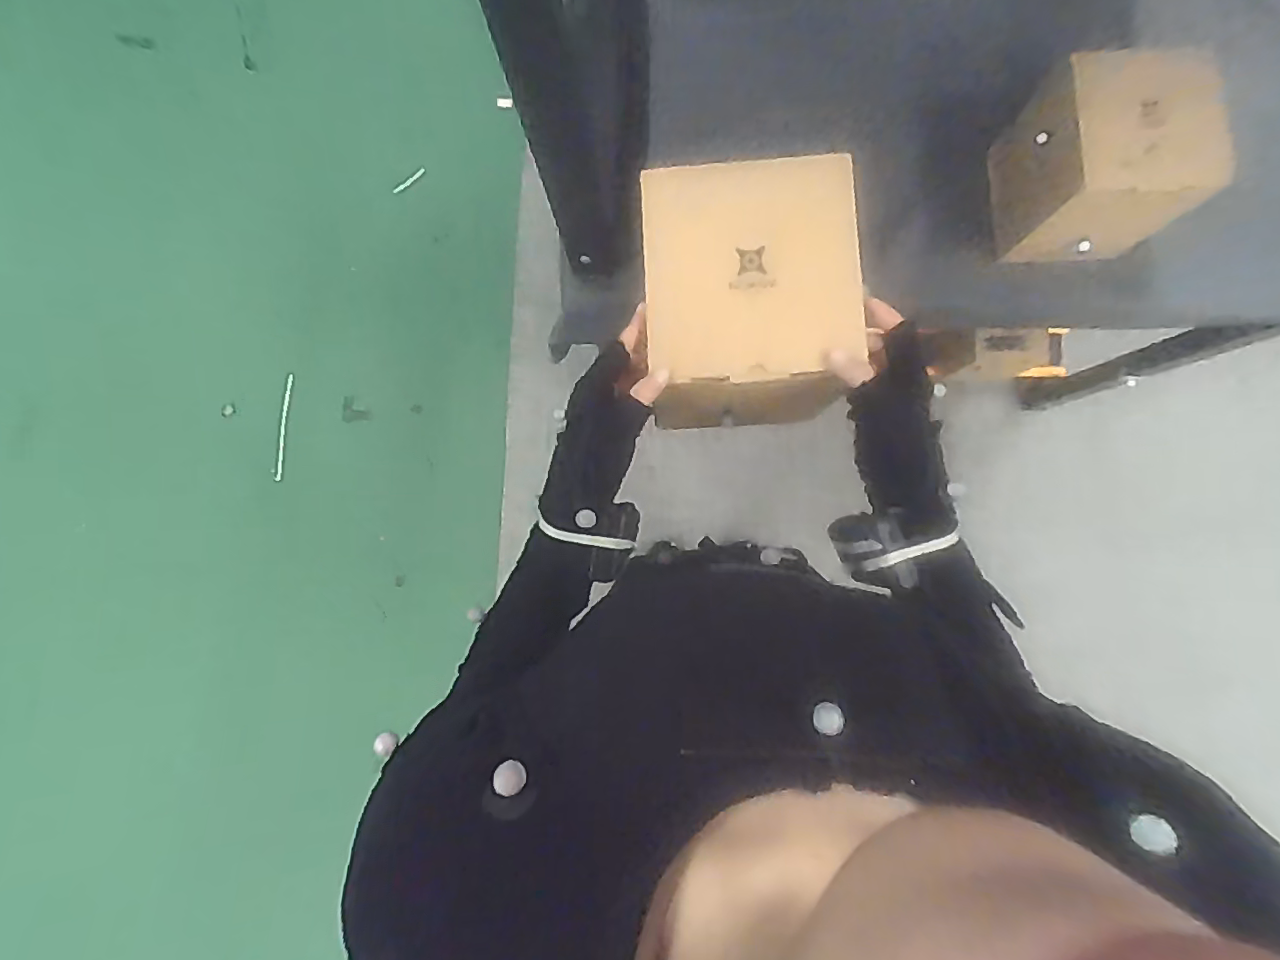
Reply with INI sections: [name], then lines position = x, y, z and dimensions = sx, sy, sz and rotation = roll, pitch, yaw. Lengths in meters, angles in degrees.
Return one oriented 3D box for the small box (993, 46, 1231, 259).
[small box]
position = 0.597, -0.417, 0.711
dimensions = 0.168, 0.176, 0.179
rotation = -1, 83, 3
